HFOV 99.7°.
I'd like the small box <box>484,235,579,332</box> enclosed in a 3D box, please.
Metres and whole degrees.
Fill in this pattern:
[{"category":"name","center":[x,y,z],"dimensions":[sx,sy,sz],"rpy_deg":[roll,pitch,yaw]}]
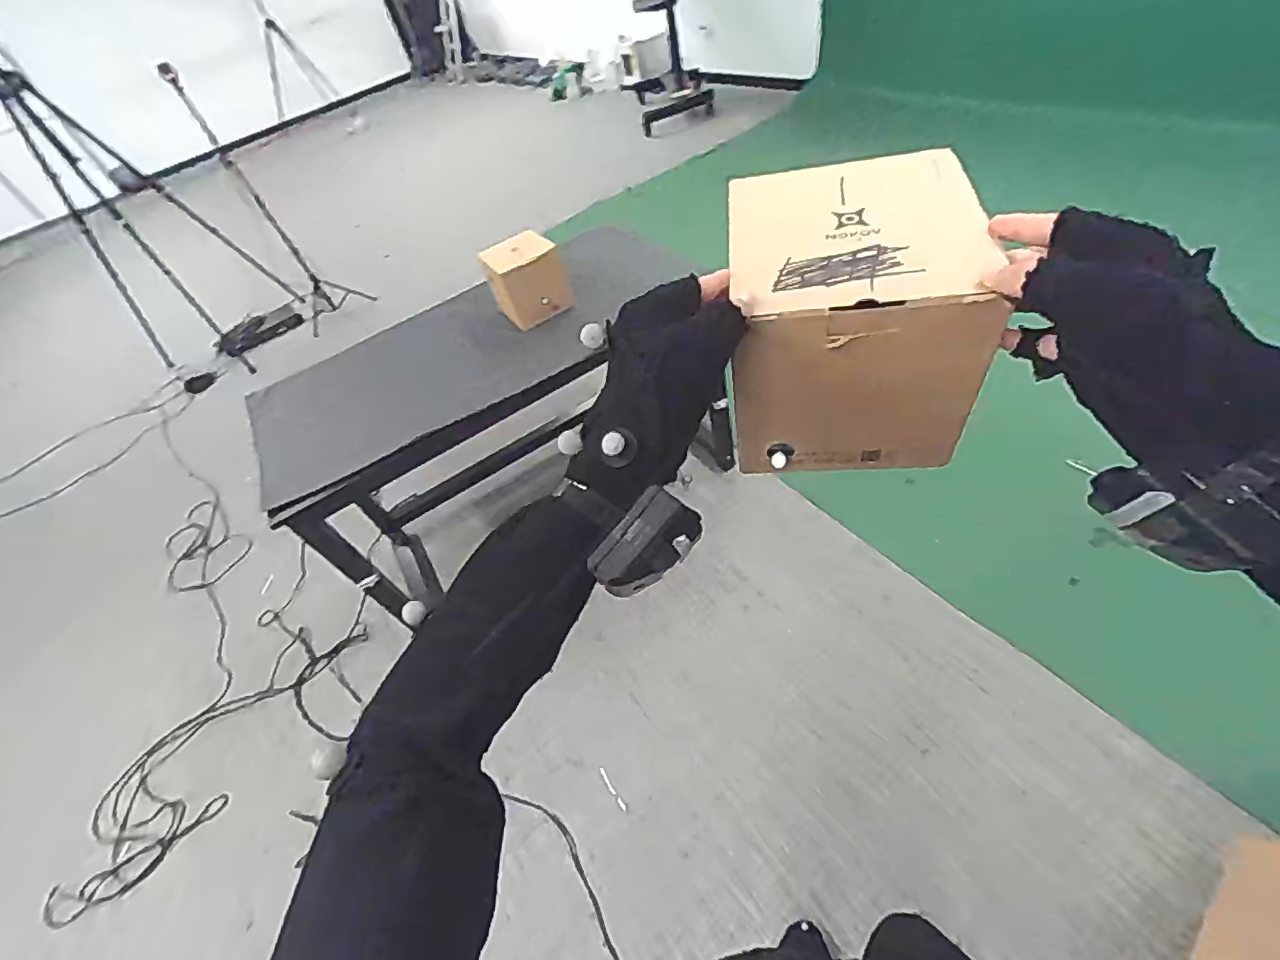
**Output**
[{"category":"small box","center":[-0.291,-0.529,1.463],"dimensions":[0.168,0.176,0.179],"rpy_deg":[-33,49,-13]}]

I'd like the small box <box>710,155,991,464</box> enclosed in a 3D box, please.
[{"category":"small box","center":[0.150,-0.124,0.439],"dimensions":[0.168,0.176,0.179],"rpy_deg":[-3,53,13]}]
